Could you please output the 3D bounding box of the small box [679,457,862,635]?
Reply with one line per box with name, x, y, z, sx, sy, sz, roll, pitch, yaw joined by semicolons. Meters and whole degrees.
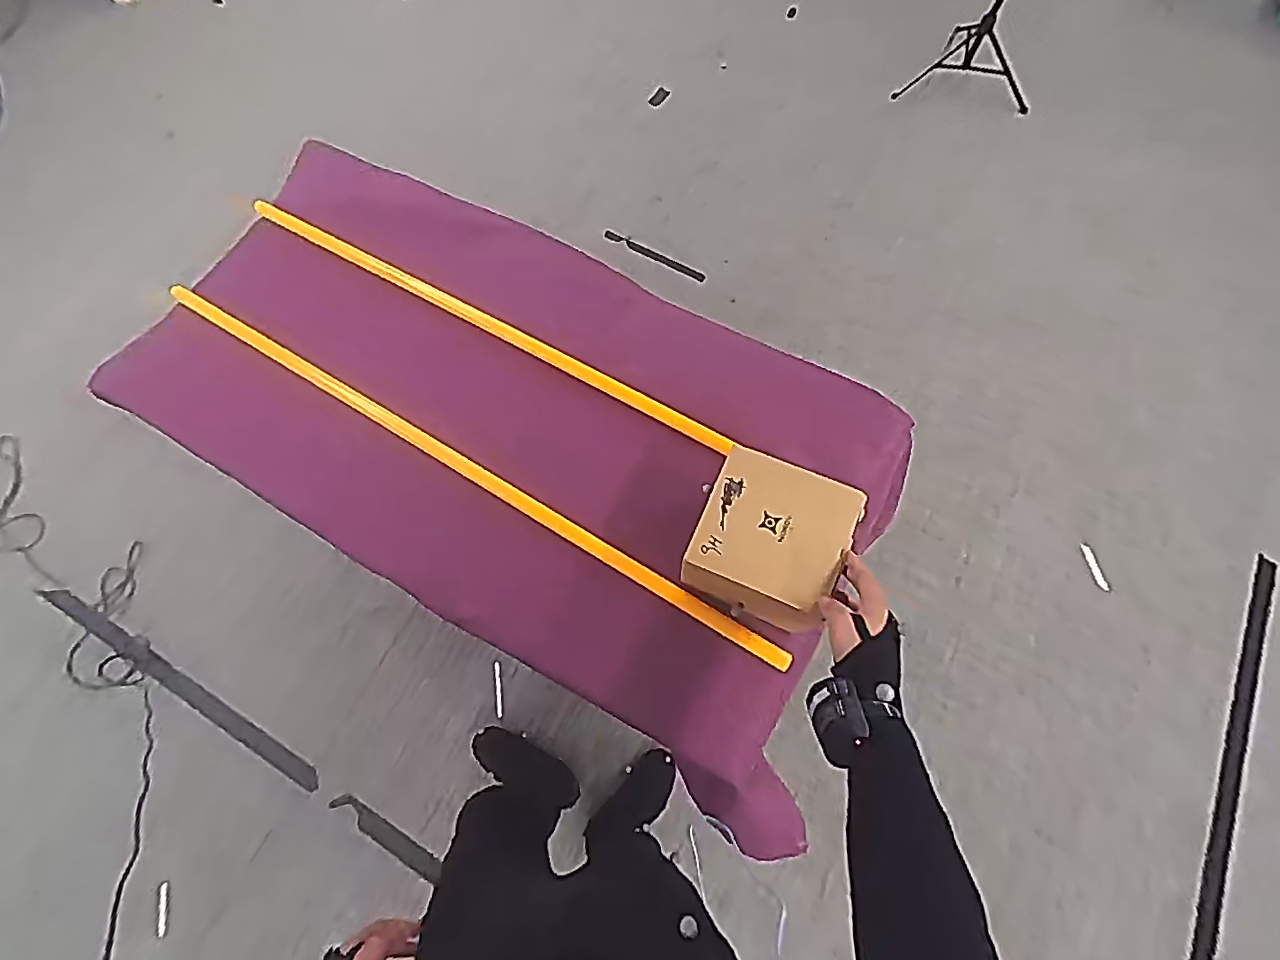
small box;0.164;0.098;0.729;0.179;0.176;0.168;23;73;11
